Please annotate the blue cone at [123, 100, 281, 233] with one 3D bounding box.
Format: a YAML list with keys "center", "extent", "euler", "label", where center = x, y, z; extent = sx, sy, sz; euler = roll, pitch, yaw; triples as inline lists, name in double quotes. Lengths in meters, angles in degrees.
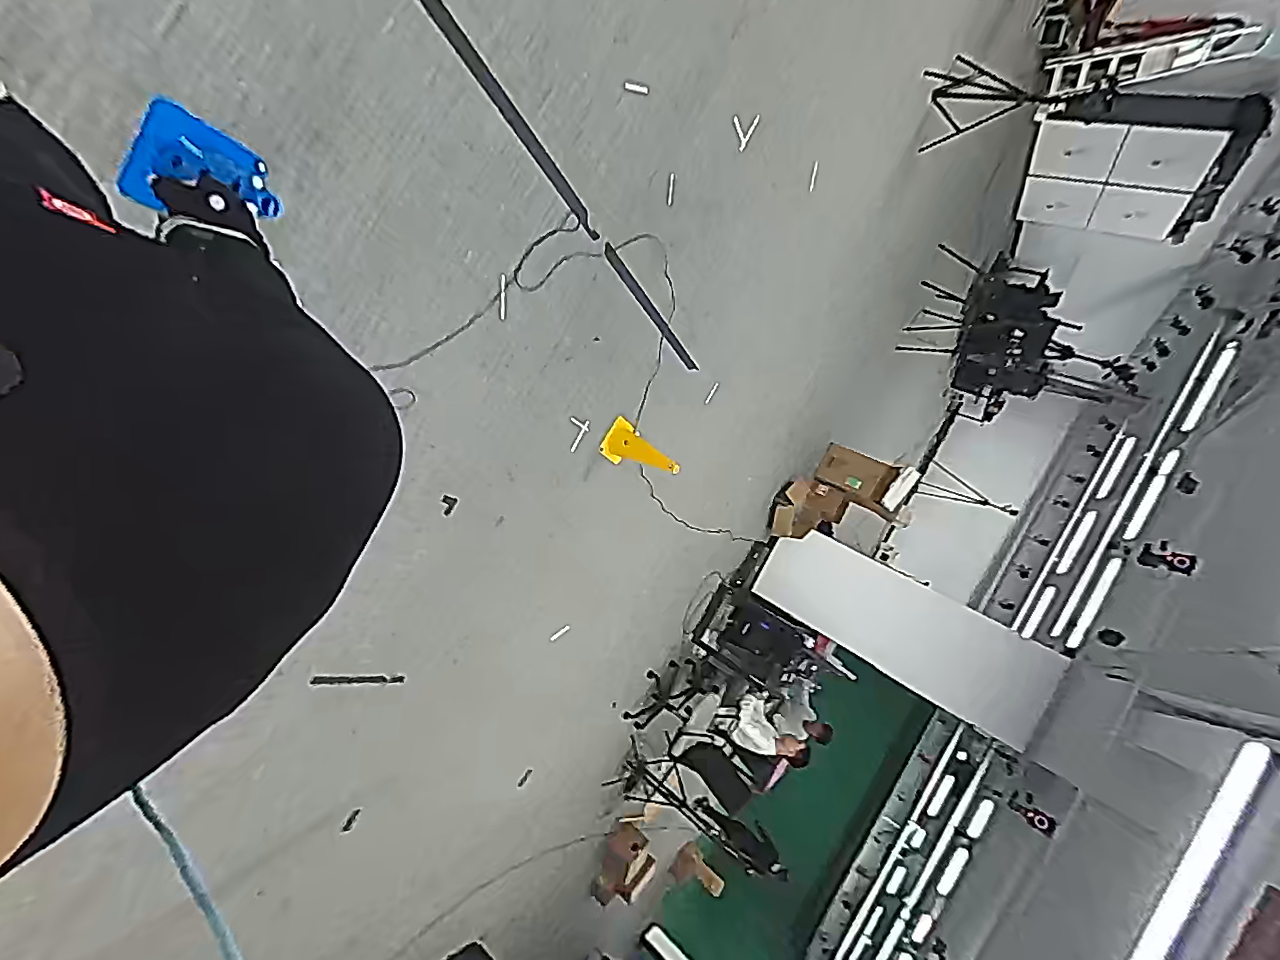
- center: [-0.757, -0.543, 0.987]
  extent: [0.193, 0.380, 0.192]
  euler: [23, 95, -59]
  label: "blue cone"
